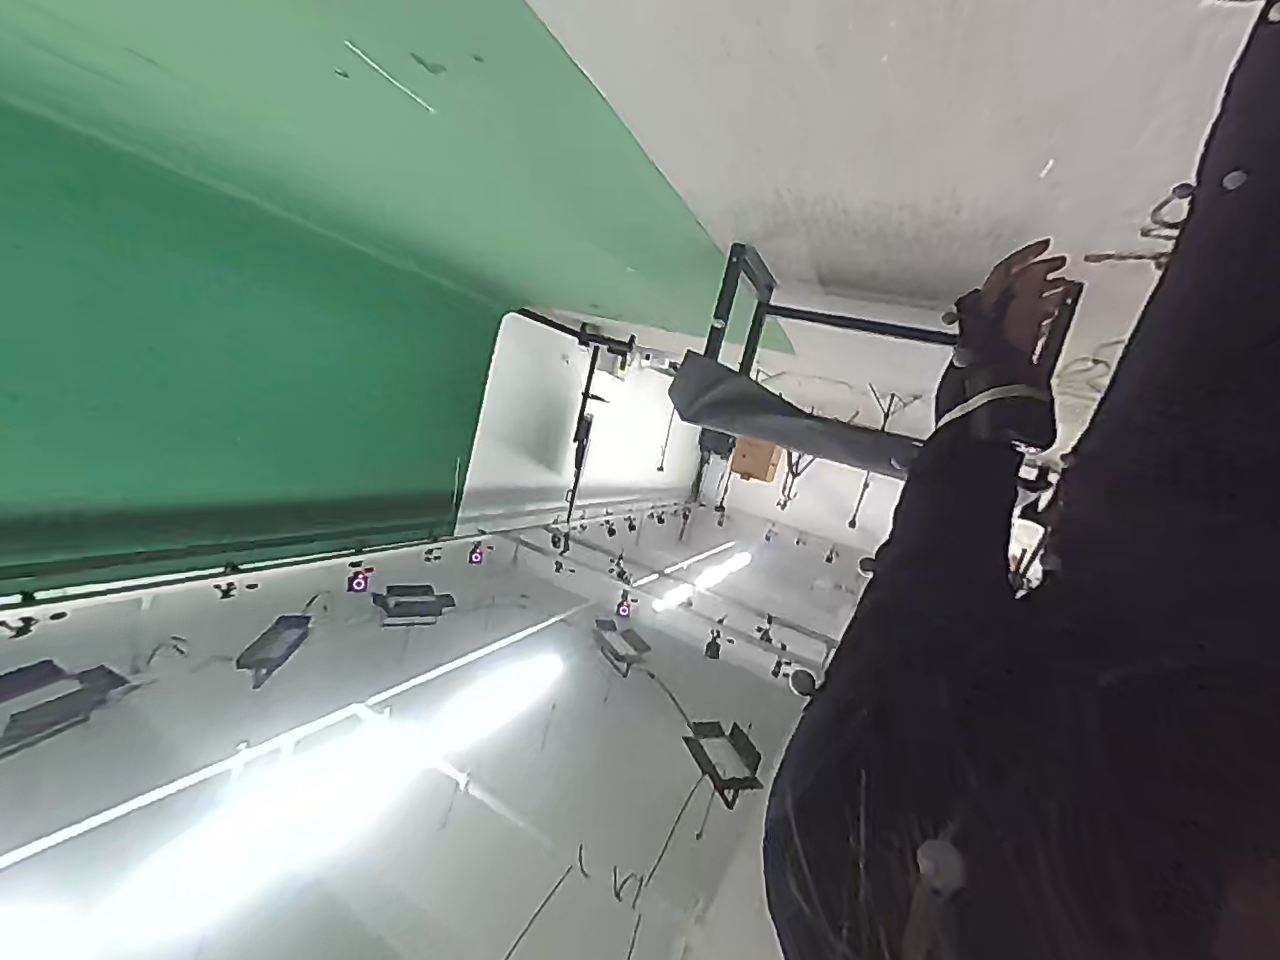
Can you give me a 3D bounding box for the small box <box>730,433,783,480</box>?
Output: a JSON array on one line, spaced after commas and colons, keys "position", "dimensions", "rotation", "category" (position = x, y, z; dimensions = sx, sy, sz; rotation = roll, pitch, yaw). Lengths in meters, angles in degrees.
[{"position": [0.511, -0.105, 2.362], "dimensions": [0.168, 0.176, 0.179], "rotation": [19, -170, 25], "category": "small box"}]
